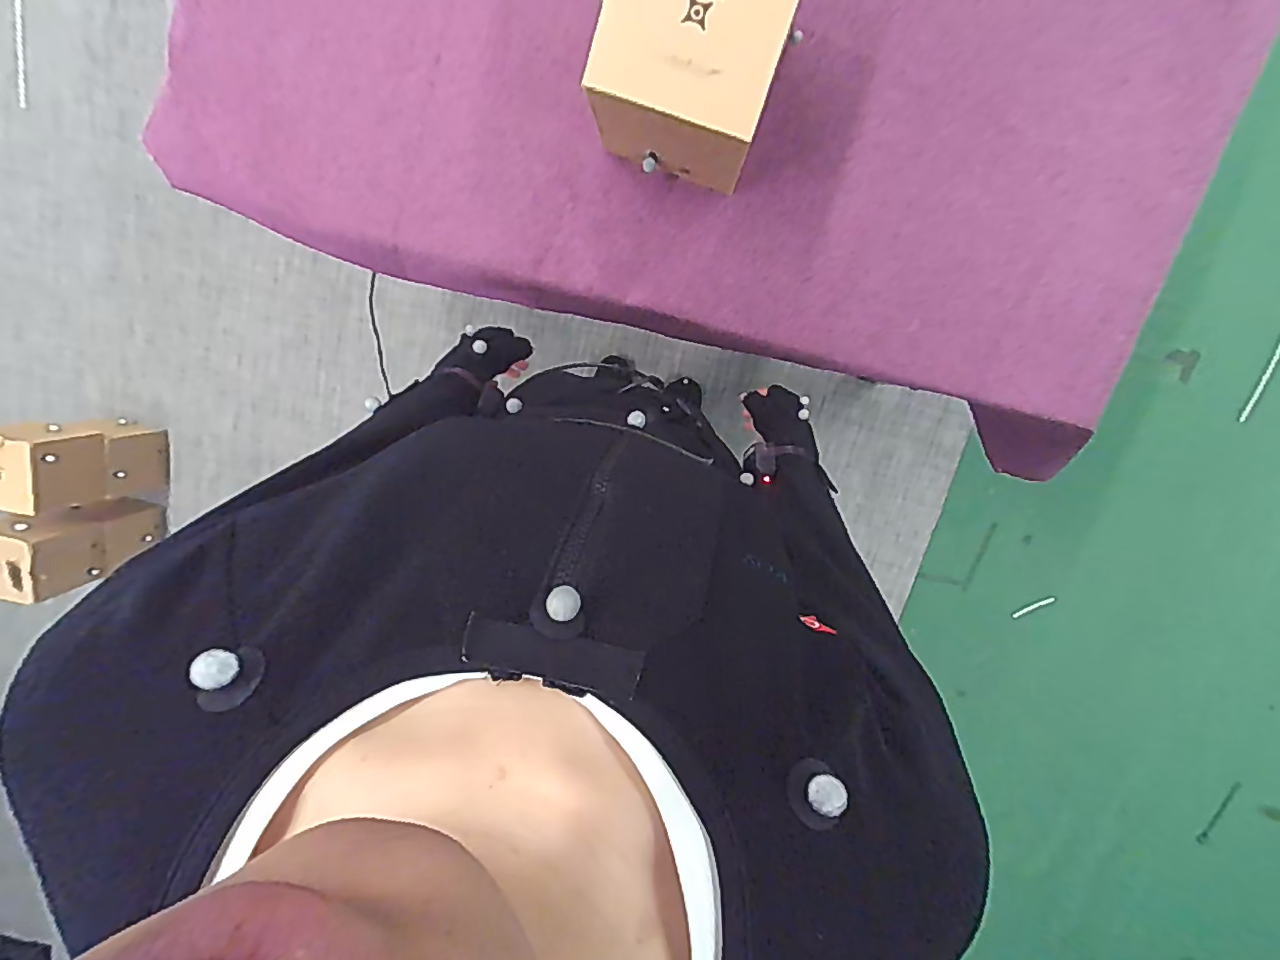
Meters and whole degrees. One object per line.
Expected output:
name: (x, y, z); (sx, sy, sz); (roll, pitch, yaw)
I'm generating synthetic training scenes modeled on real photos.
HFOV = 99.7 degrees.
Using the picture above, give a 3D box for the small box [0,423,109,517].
small box: (-1.431, -0.030, 1.294); (0.168, 0.176, 0.179); (10, 103, 0)

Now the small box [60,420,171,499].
small box: (-1.420, -0.061, 1.454); (0.179, 0.176, 0.168); (11, 104, 1)

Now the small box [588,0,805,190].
small box: (0.058, -0.430, 0.548); (0.168, 0.176, 0.179); (19, 104, -1)
